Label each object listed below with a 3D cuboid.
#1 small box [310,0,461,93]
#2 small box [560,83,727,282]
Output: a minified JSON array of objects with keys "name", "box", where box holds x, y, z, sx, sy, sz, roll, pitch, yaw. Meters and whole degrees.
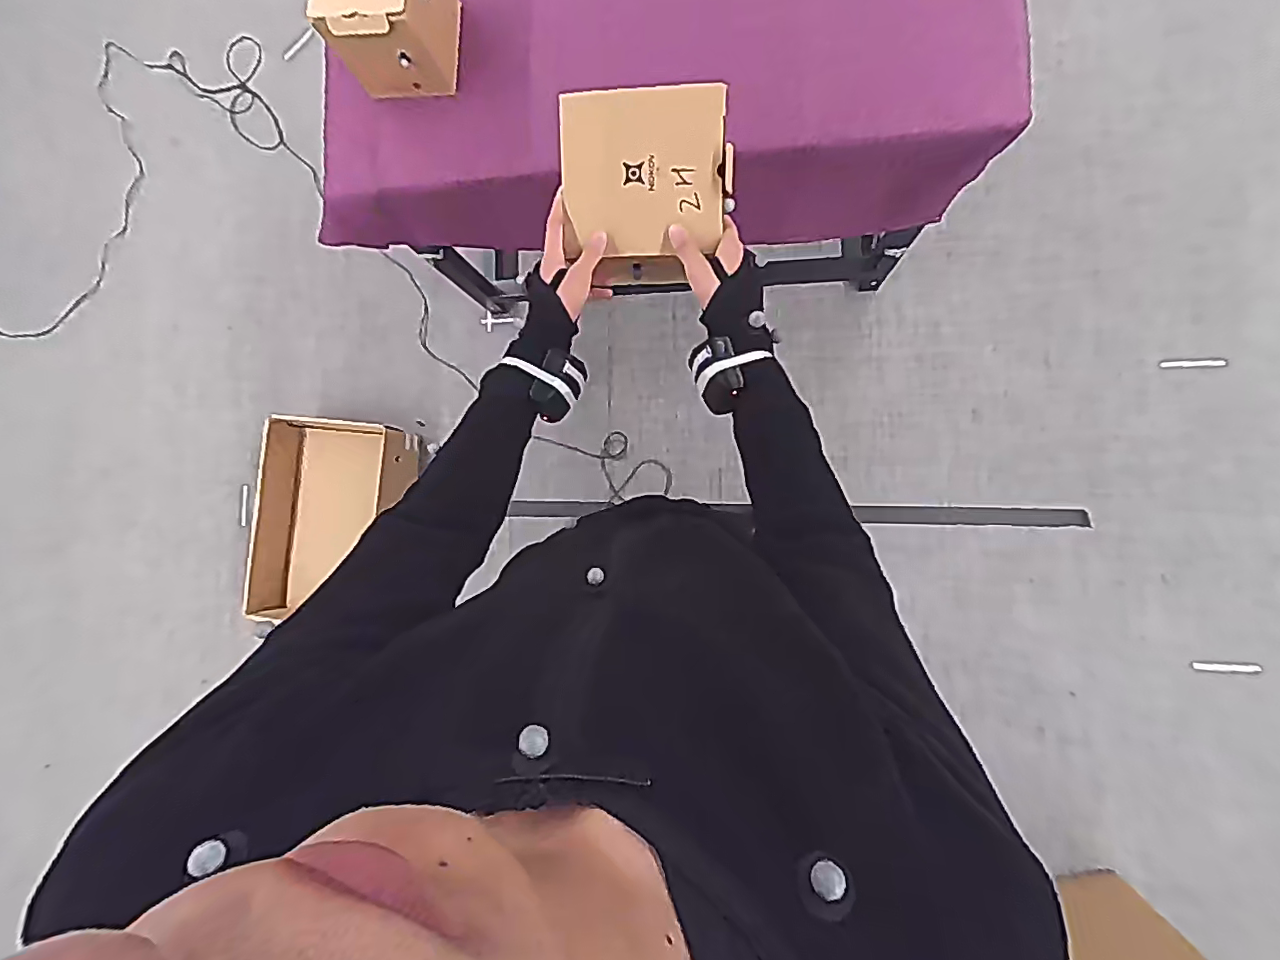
[{"name":"small box","box":[-0.420,-0.796,0.917,0.168,0.176,0.179,4,88,7]},{"name":"small box","box":[0.011,-0.336,0.645,0.179,0.176,0.168,1,101,6]}]
